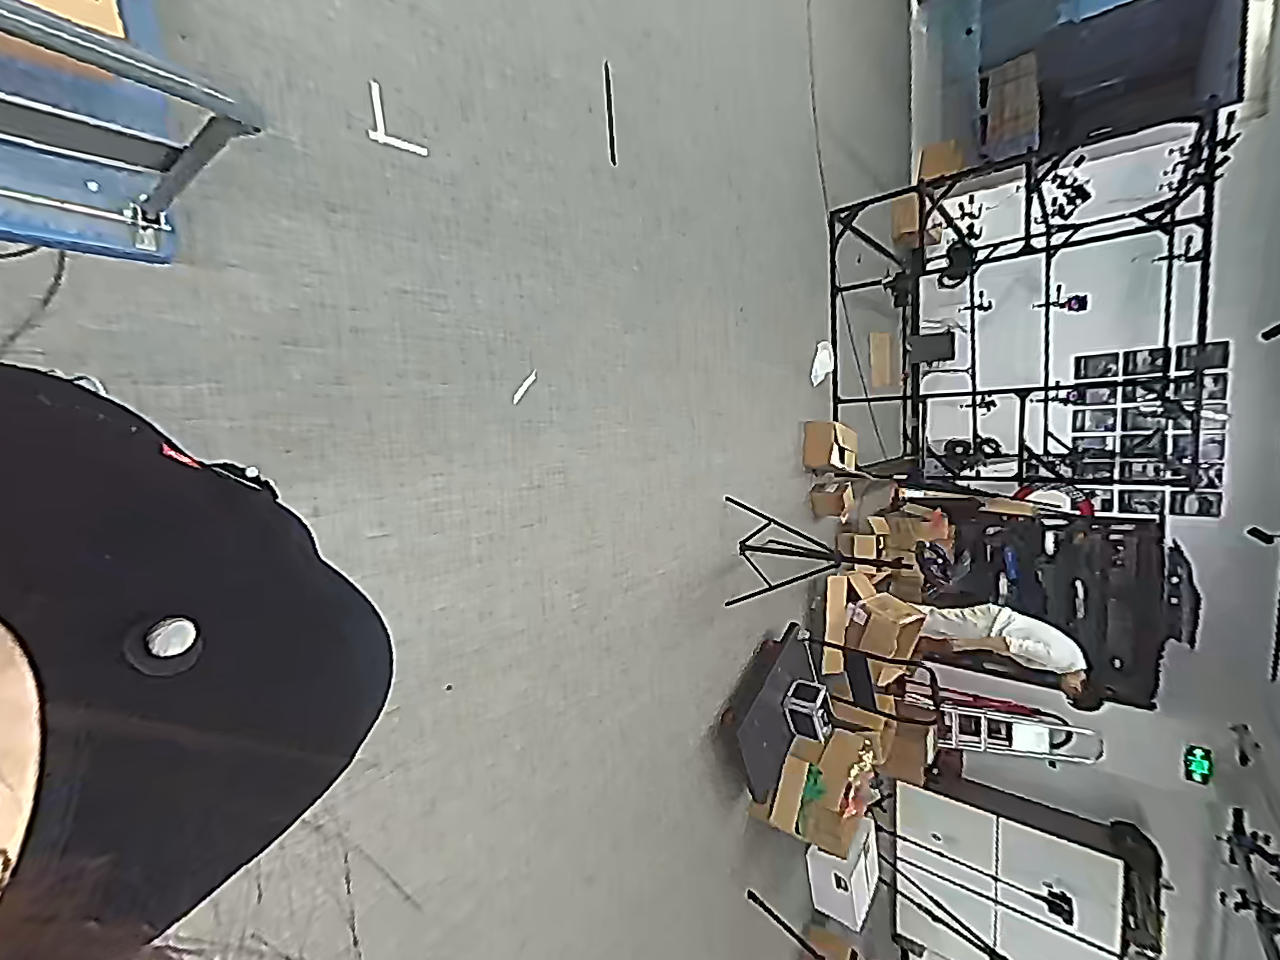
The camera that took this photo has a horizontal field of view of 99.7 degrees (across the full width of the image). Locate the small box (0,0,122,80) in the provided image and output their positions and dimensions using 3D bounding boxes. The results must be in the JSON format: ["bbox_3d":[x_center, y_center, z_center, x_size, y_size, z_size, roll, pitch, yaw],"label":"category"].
[{"bbox_3d":[-0.955,-0.773,0.846,0.179,0.176,0.168,-16,104,-49],"label":"small box"}]
